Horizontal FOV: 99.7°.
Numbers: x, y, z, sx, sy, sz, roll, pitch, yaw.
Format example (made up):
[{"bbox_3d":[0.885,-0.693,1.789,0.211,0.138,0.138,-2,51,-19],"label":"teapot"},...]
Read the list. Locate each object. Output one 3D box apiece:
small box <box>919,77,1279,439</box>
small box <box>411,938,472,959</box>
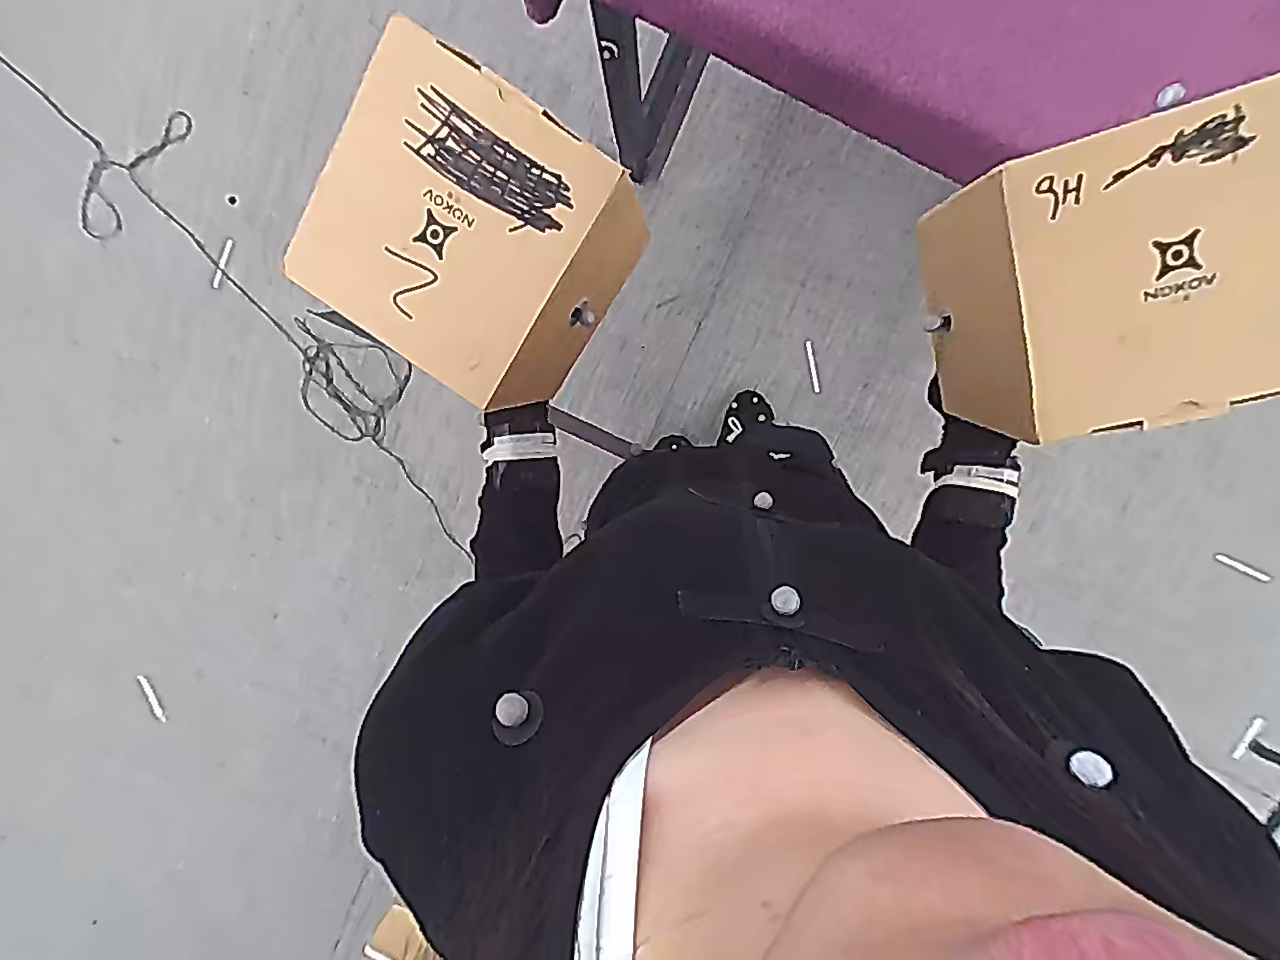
[{"bbox_3d":[0.327,-0.146,0.398,0.168,0.176,0.179,-13,103,13],"label":"small box"},{"bbox_3d":[-0.506,1.266,1.298,0.179,0.176,0.168,32,97,-1],"label":"small box"}]
